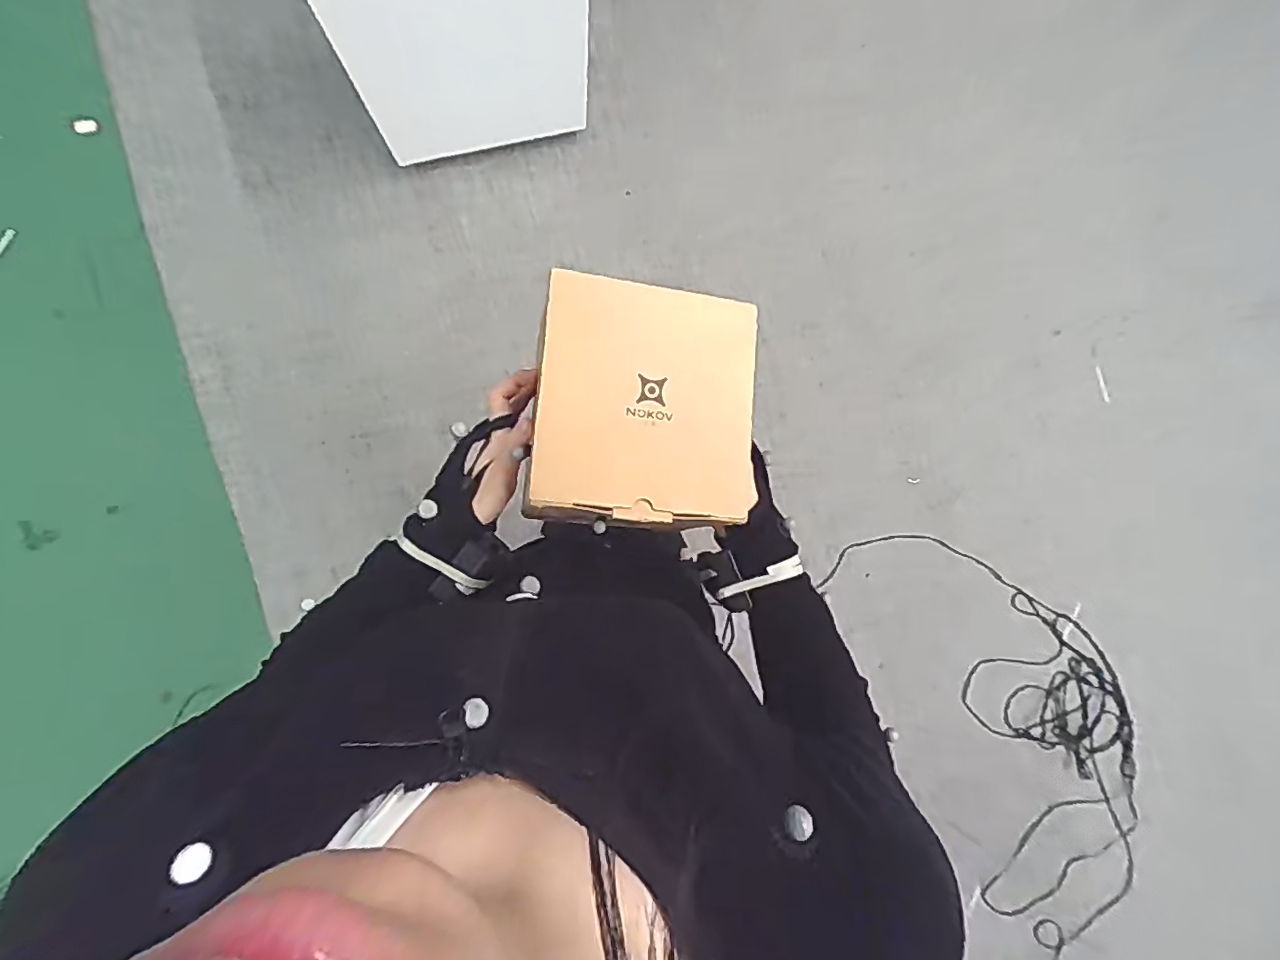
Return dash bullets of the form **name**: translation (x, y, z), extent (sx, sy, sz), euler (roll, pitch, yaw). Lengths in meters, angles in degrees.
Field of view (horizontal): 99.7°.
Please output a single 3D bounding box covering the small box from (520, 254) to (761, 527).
- **small box**: translation (-0.011, -0.056, 0.463), extent (0.168, 0.176, 0.179), euler (6, 81, -13)
